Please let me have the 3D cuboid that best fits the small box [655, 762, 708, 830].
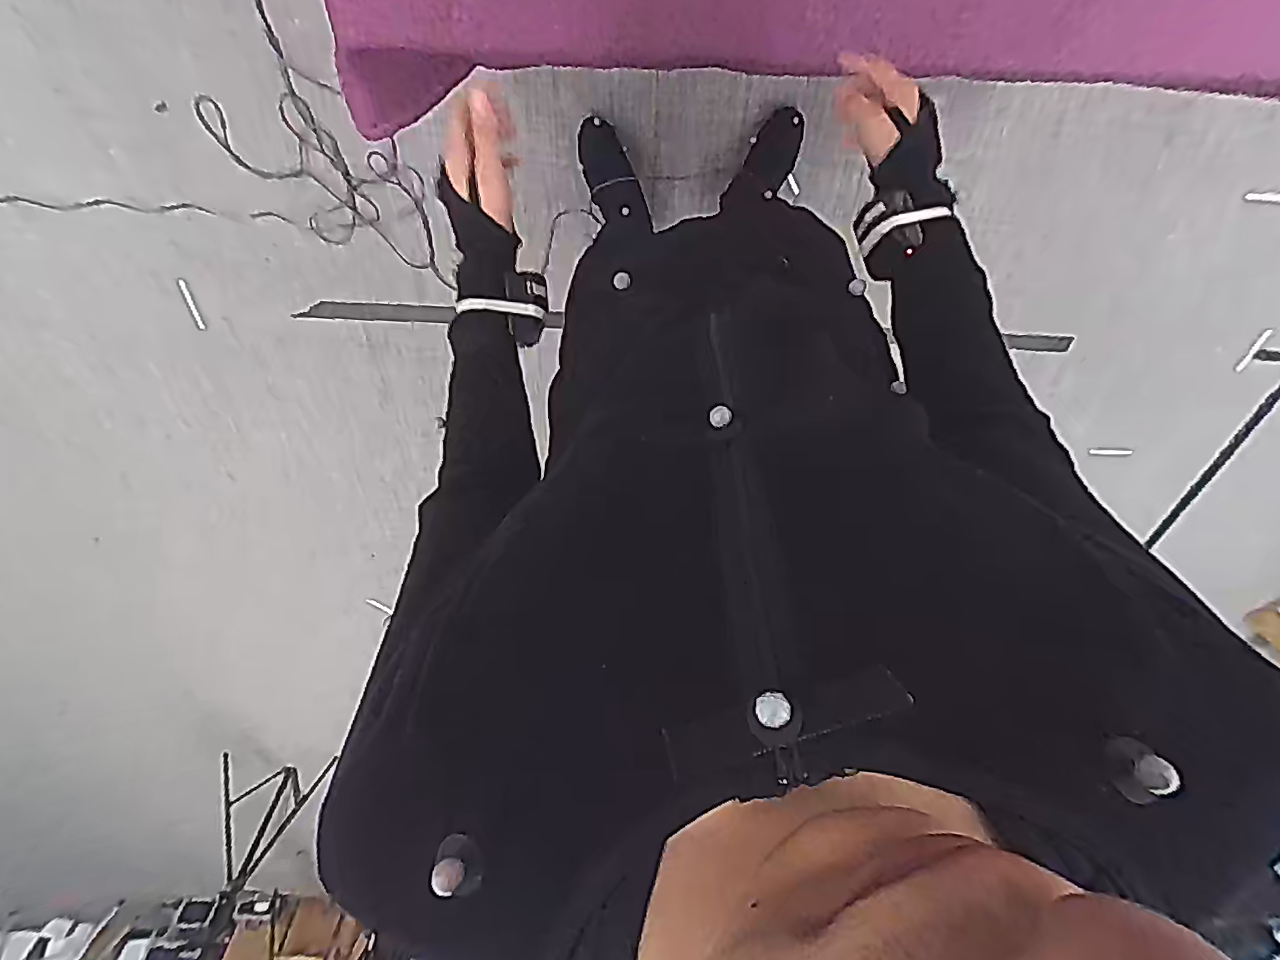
[{"bbox_3d":[0.144,1.133,1.946,0.179,0.176,0.168,-2,128,0],"label":"small box"}]
